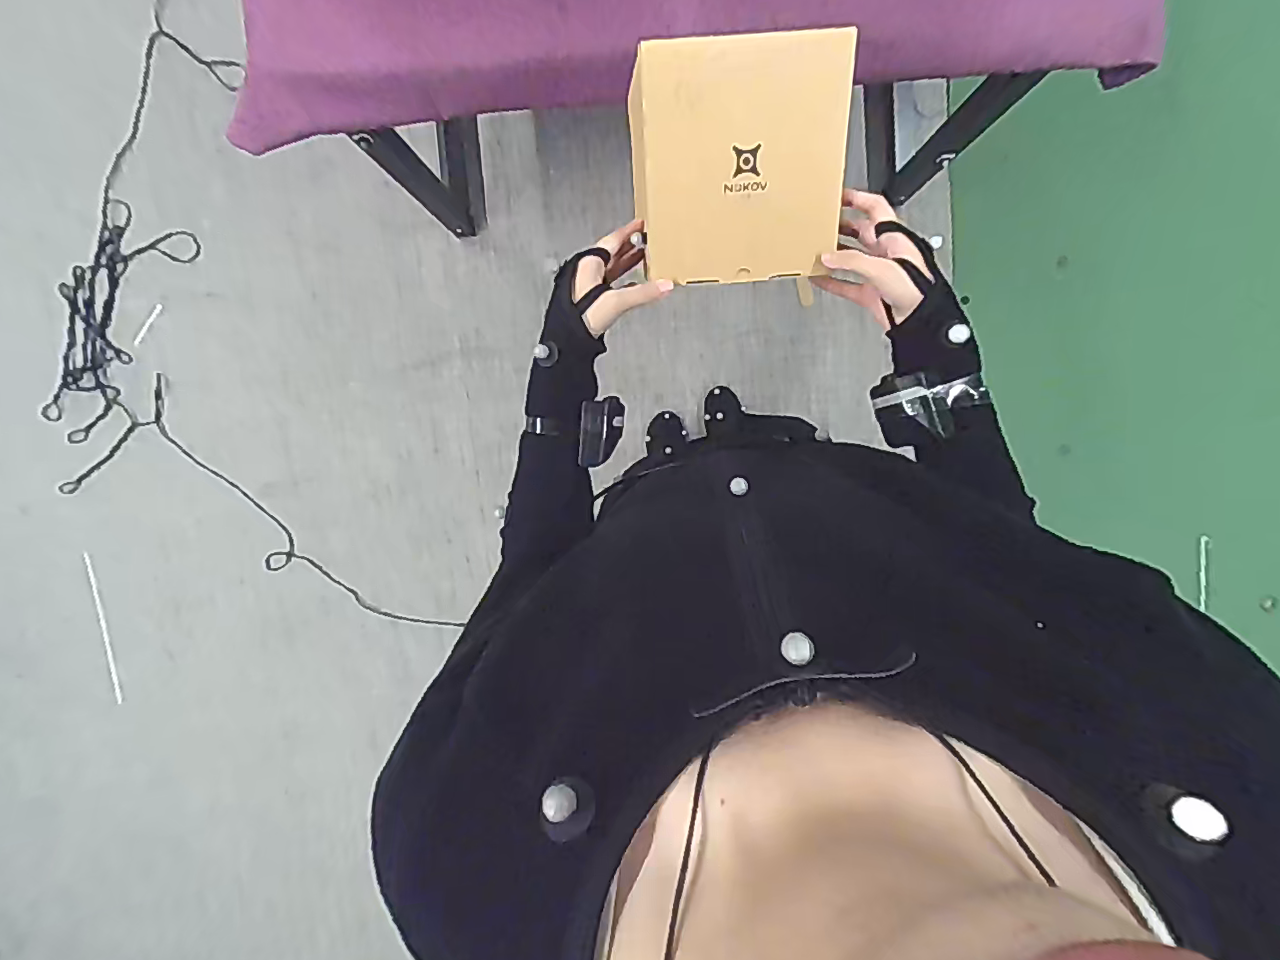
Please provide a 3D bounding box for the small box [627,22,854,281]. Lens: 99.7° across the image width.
[{"bbox_3d":[0.078,-0.290,0.507,0.168,0.176,0.179,-5,116,-2],"label":"small box"}]
